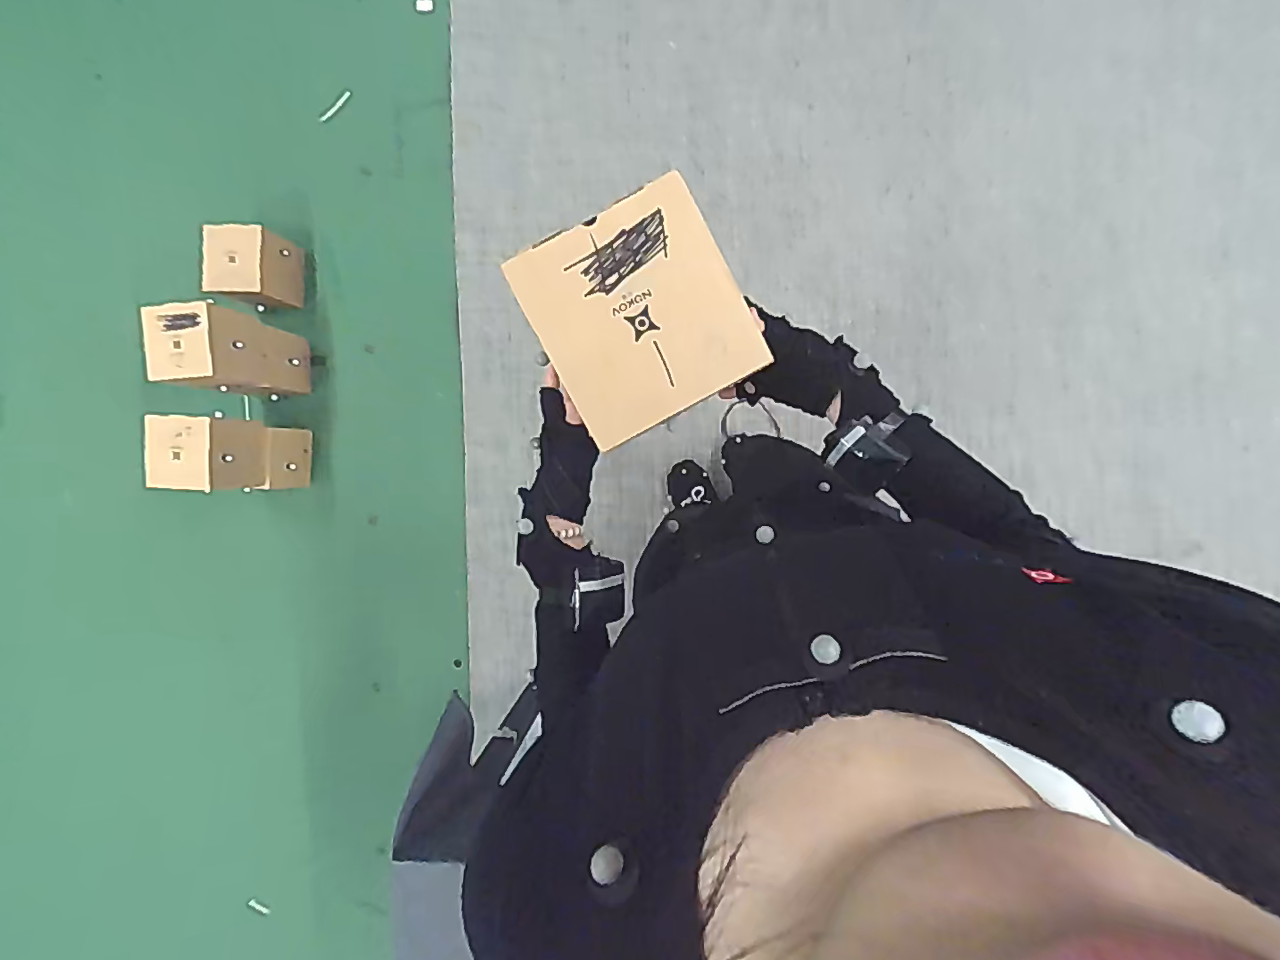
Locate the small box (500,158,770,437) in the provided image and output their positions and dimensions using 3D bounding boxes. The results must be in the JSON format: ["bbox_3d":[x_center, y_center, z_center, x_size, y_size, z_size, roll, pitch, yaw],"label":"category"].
[{"bbox_3d":[-0.006,-0.150,0.514,0.168,0.176,0.179,-28,94,1],"label":"small box"}]

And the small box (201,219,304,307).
[{"bbox_3d":[-1.055,-0.590,1.484,0.168,0.176,0.179,3,92,5],"label":"small box"}]

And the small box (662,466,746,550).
[{"bbox_3d":[0.167,0.069,1.431,0.179,0.176,0.168,15,105,19],"label":"small box"}]

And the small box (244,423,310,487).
[{"bbox_3d":[-1.051,-0.073,1.499,0.179,0.176,0.168,5,92,5],"label":"small box"}]

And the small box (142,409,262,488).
[{"bbox_3d":[-1.074,-0.077,1.335,0.168,0.176,0.179,3,92,4],"label":"small box"}]
